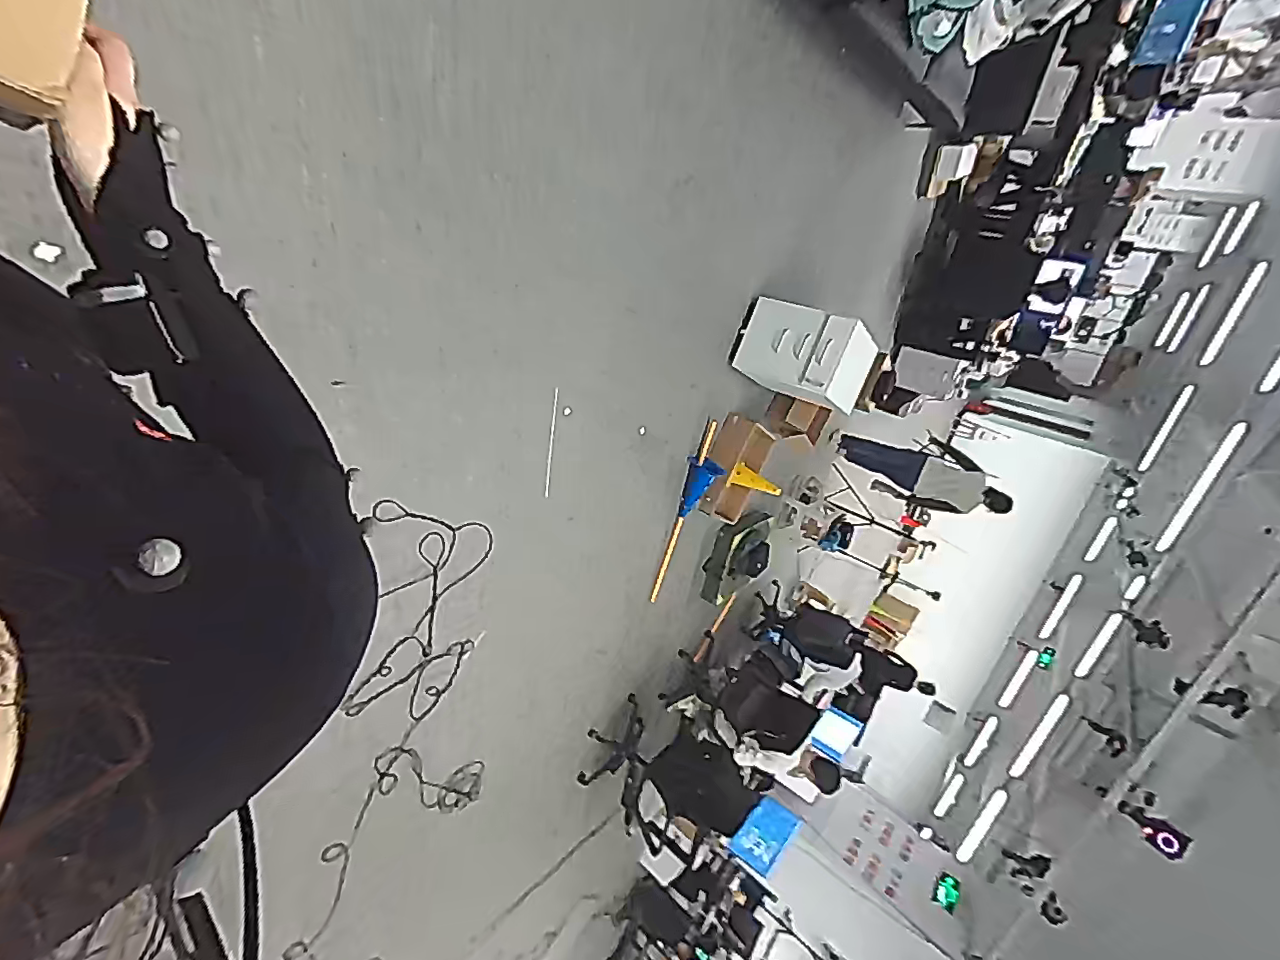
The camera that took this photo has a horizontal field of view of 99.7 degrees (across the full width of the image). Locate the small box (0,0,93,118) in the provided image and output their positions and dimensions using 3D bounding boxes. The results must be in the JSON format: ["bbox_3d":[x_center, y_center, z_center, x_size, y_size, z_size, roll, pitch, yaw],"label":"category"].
[{"bbox_3d":[-0.389,-0.316,0.262,0.168,0.176,0.179,11,98,-56],"label":"small box"}]
